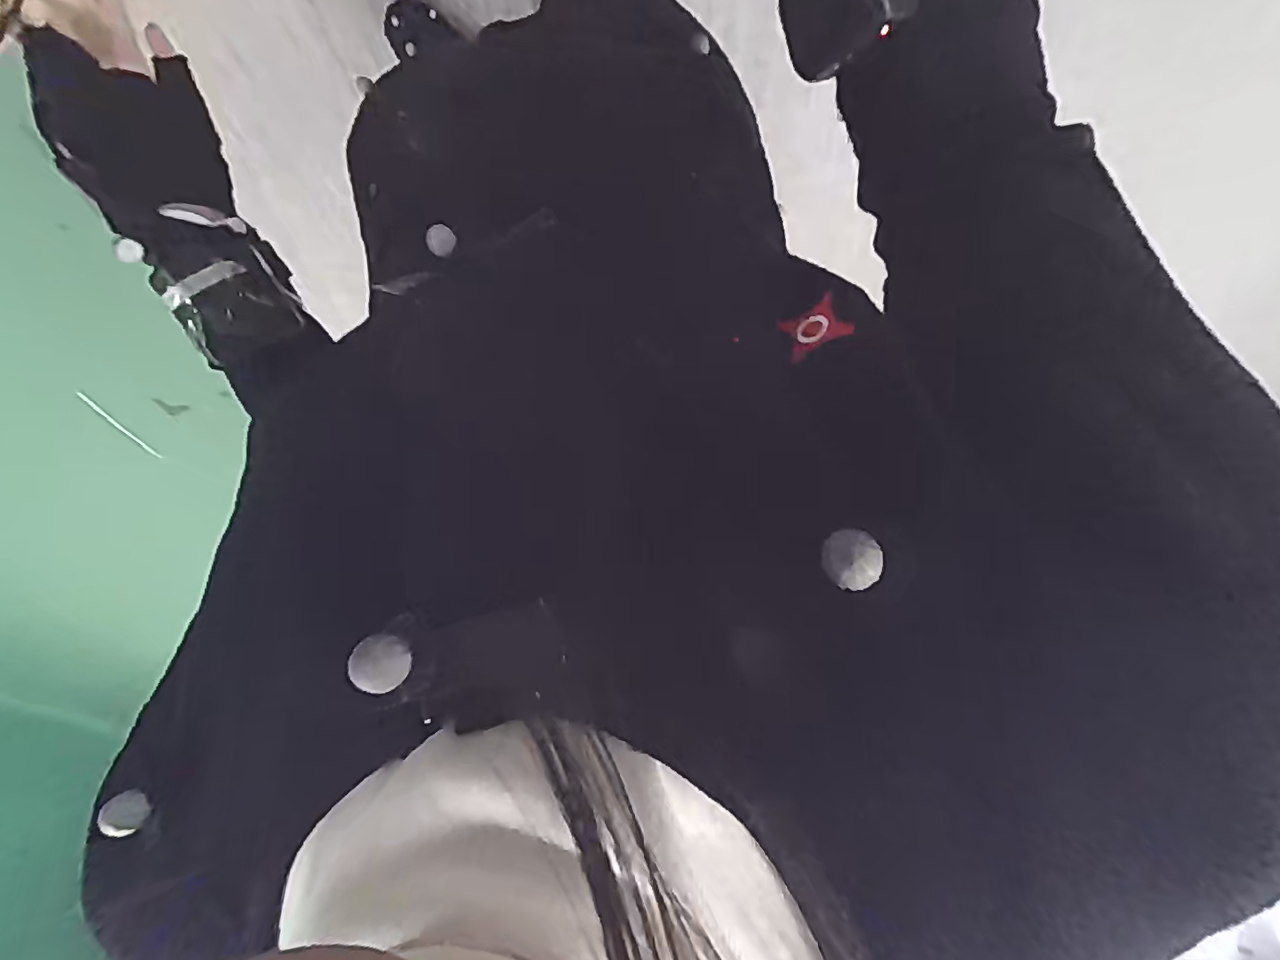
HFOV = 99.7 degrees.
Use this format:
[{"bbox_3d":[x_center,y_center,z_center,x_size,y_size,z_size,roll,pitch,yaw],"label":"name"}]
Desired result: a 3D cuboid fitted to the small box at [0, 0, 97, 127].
[{"bbox_3d":[-0.390,-0.345,0.274,0.168,0.176,0.179,-23,148,30],"label":"small box"}]
